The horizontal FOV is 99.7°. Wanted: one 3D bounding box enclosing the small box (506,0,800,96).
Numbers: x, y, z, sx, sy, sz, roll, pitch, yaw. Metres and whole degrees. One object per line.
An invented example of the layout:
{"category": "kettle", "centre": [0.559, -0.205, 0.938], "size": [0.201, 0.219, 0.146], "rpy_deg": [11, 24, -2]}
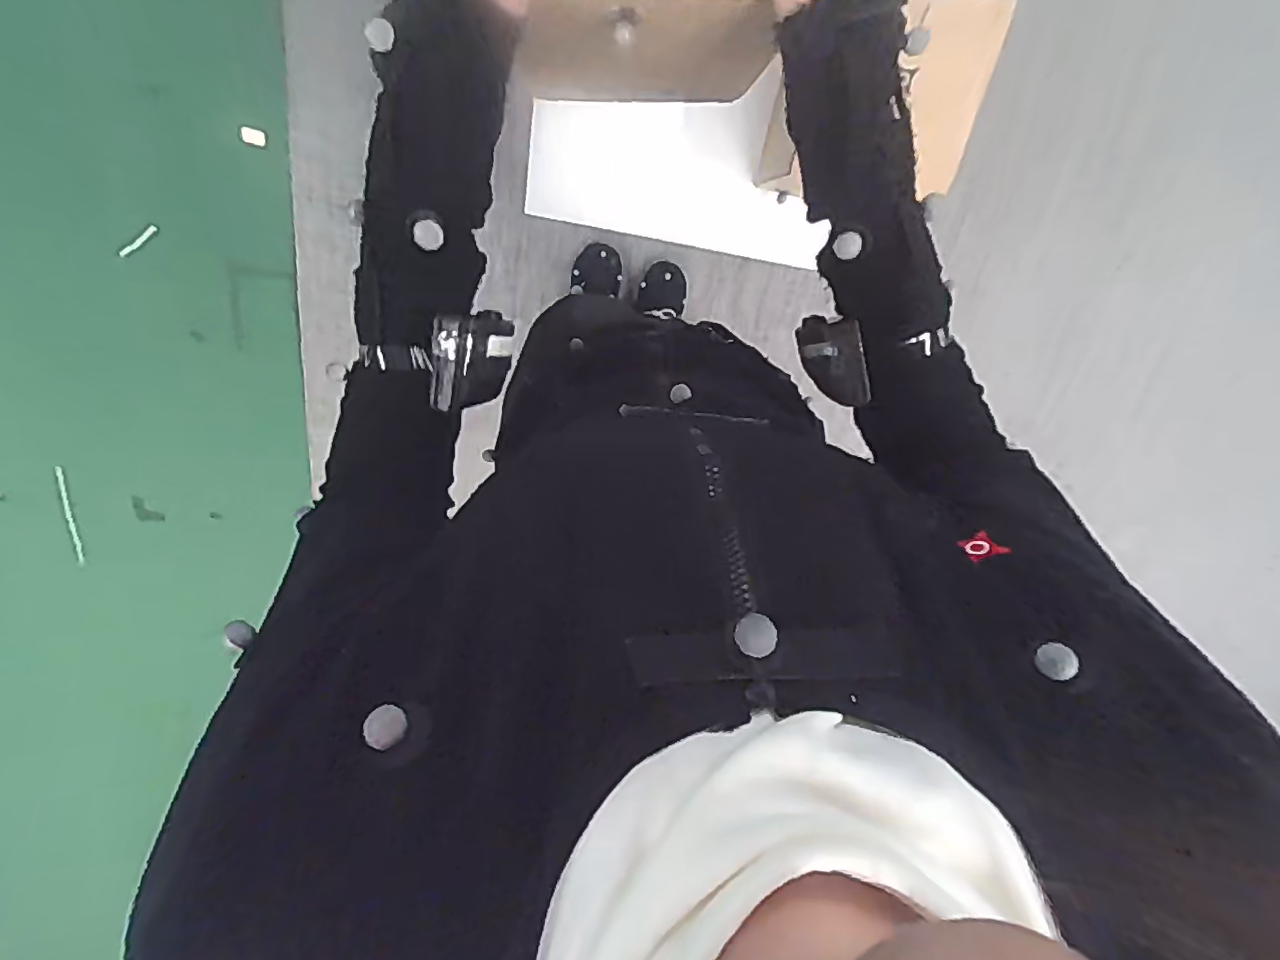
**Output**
{"category": "small box", "centre": [0.000, -0.354, 0.310], "size": [0.168, 0.176, 0.179], "rpy_deg": [-2, 109, -4]}

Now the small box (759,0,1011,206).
{"category": "small box", "centre": [0.240, -0.409, 0.586], "size": [0.168, 0.176, 0.179], "rpy_deg": [10, 113, -5]}
